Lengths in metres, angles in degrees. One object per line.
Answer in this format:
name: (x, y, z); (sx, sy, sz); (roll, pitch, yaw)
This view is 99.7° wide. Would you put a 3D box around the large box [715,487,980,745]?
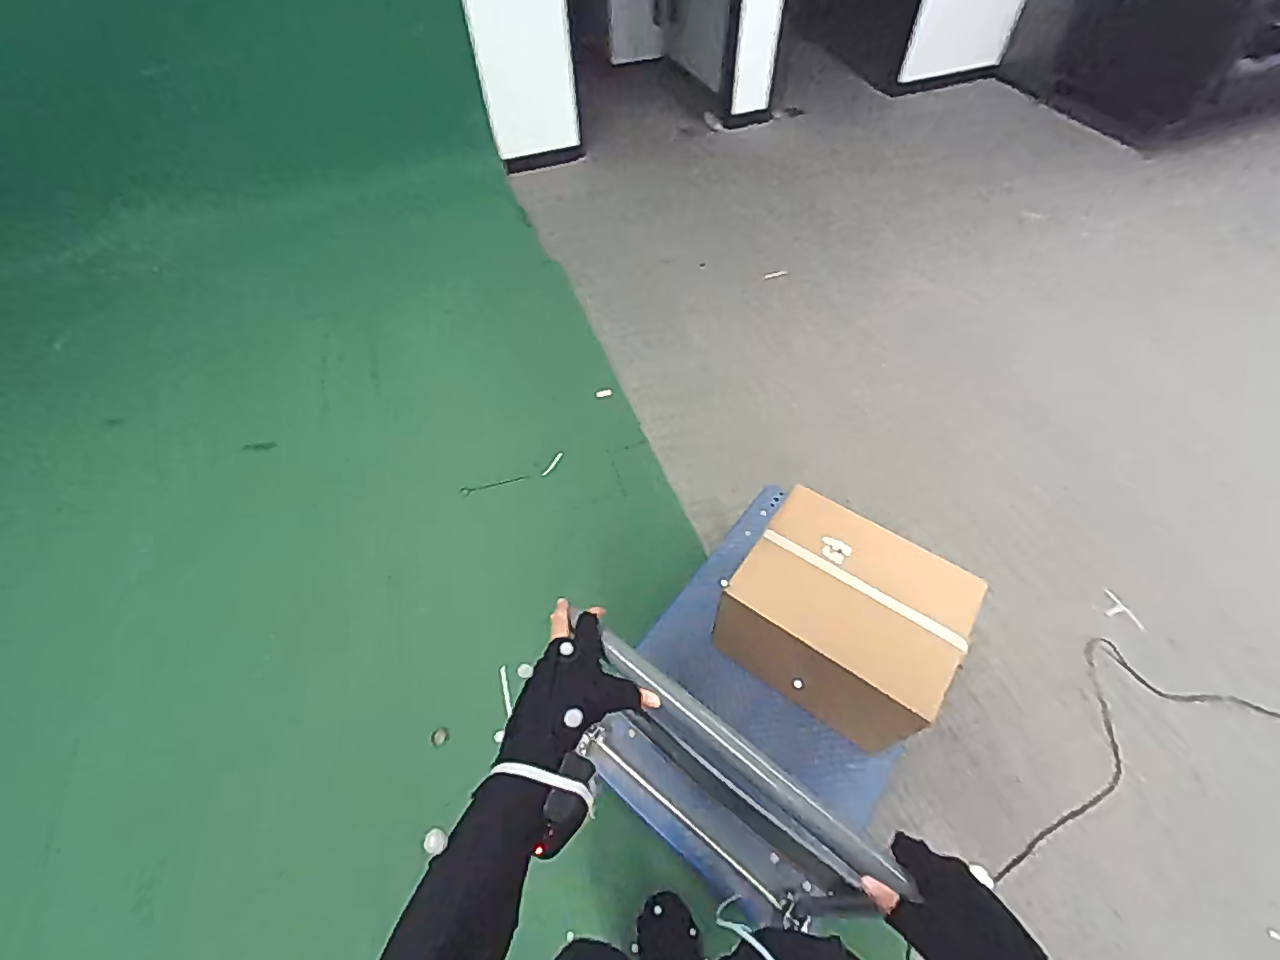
large box: (0.415, 0.290, 1.160); (0.408, 0.320, 0.320); (30, 60, 22)
